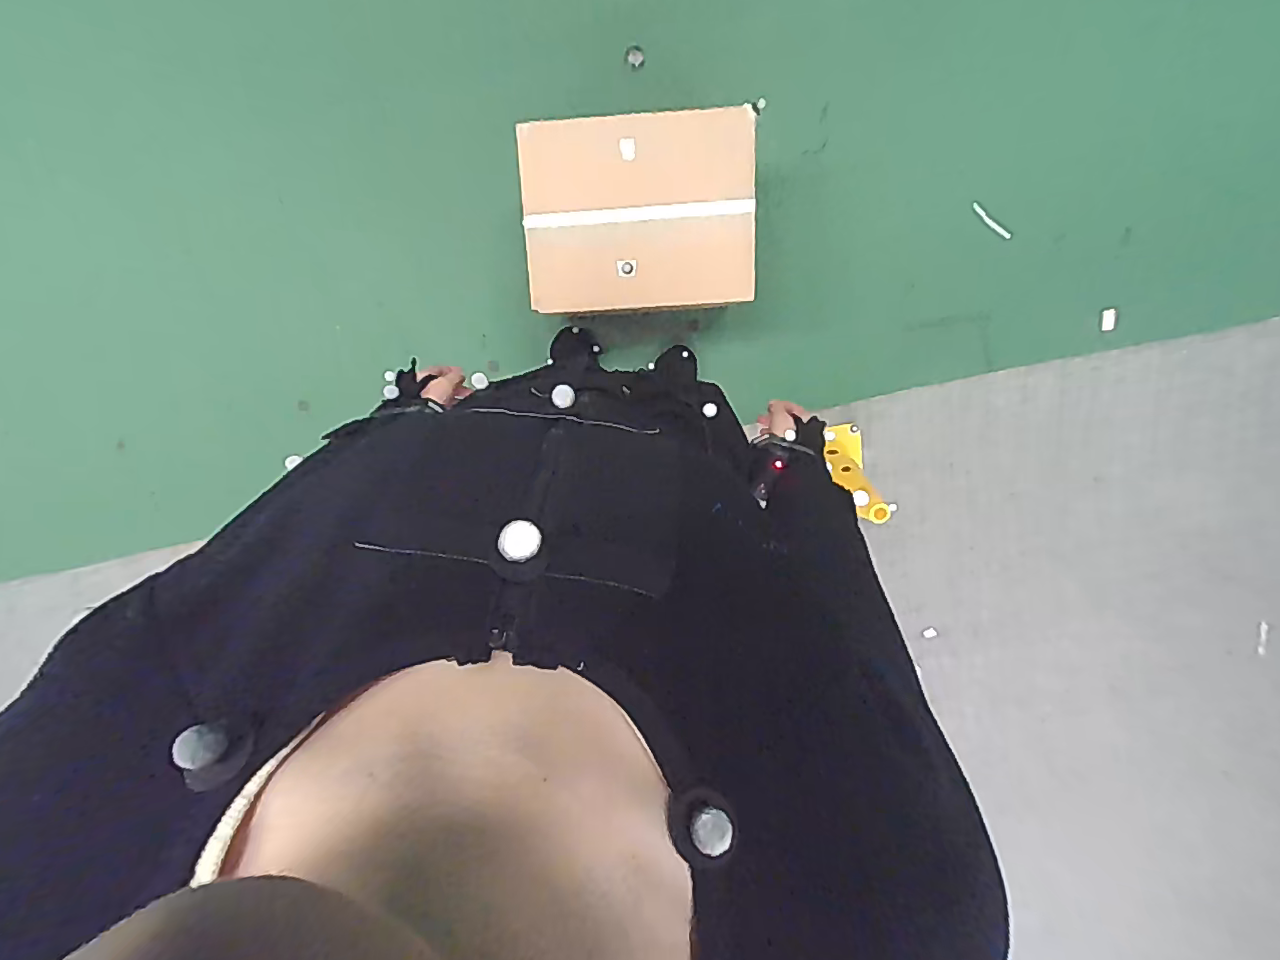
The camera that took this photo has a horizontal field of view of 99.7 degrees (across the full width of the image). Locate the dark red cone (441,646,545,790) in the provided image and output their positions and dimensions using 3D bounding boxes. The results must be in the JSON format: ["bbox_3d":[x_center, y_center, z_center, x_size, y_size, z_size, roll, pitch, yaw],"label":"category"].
[{"bbox_3d":[-0.384,0.592,1.317,0.202,0.394,0.201,-18,101,6],"label":"dark red cone"}]
